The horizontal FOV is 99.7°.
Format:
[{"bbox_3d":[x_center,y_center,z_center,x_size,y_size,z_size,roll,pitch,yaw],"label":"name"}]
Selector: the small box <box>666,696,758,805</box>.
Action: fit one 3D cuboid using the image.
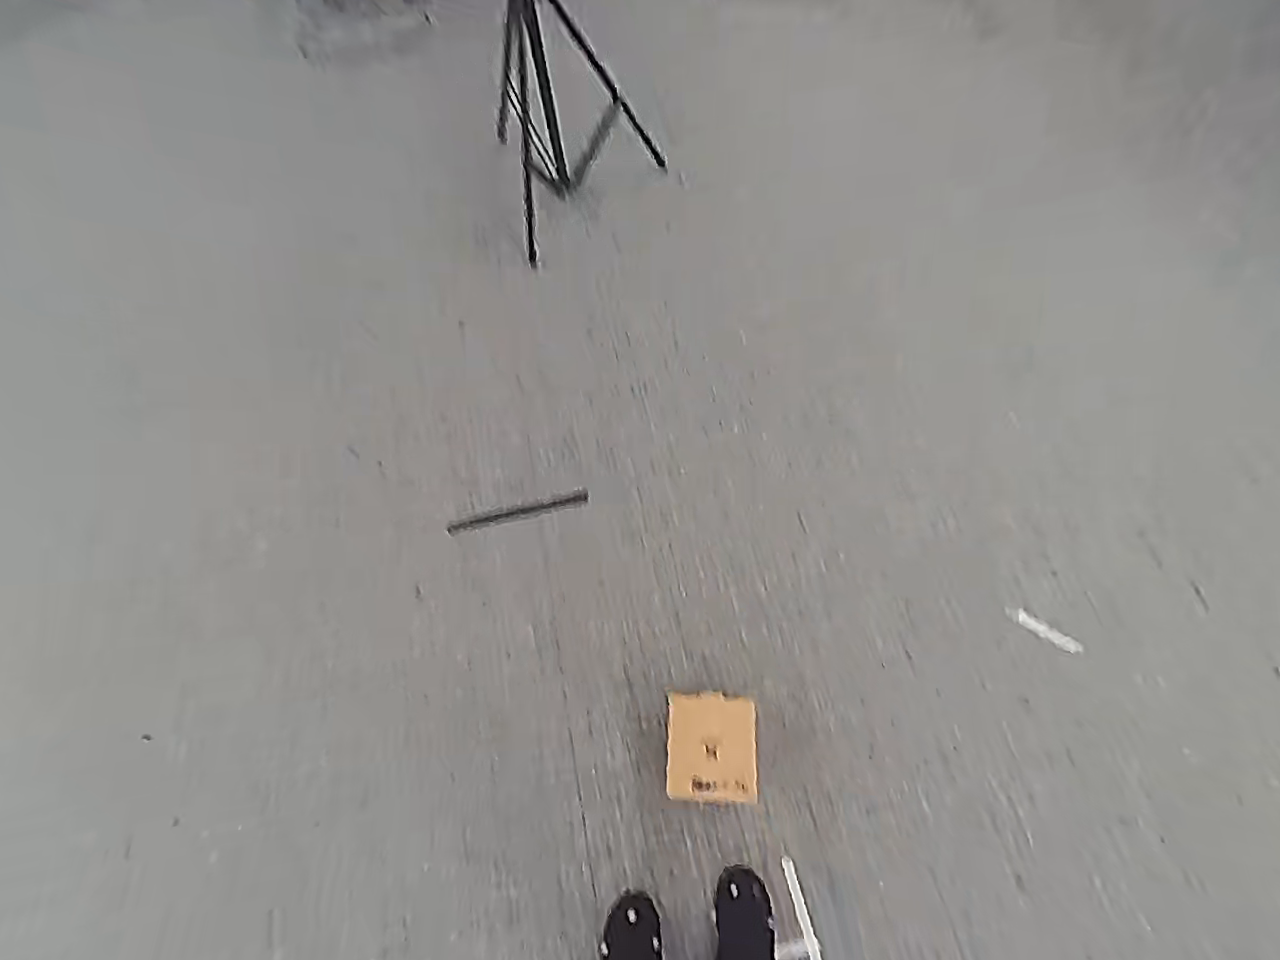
[{"bbox_3d":[0.140,0.535,1.083,0.168,0.176,0.179,2,66,4],"label":"small box"}]
